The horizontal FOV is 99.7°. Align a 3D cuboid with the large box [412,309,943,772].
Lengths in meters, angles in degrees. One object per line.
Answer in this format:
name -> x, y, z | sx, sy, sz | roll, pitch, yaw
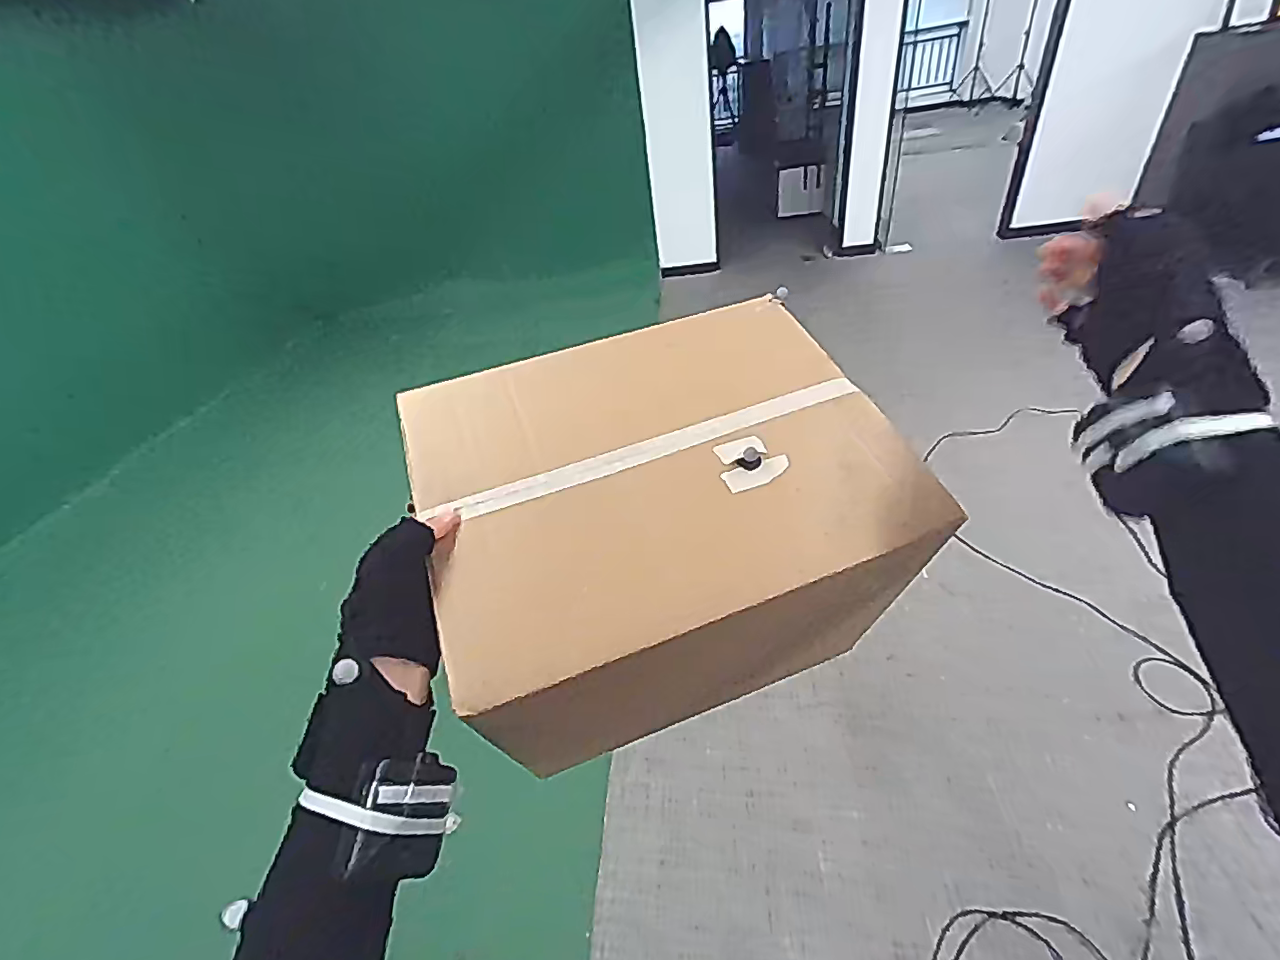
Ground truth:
large box -> 0.015, 0.067, 0.604 | 0.408, 0.320, 0.320 | -17, 56, -12
